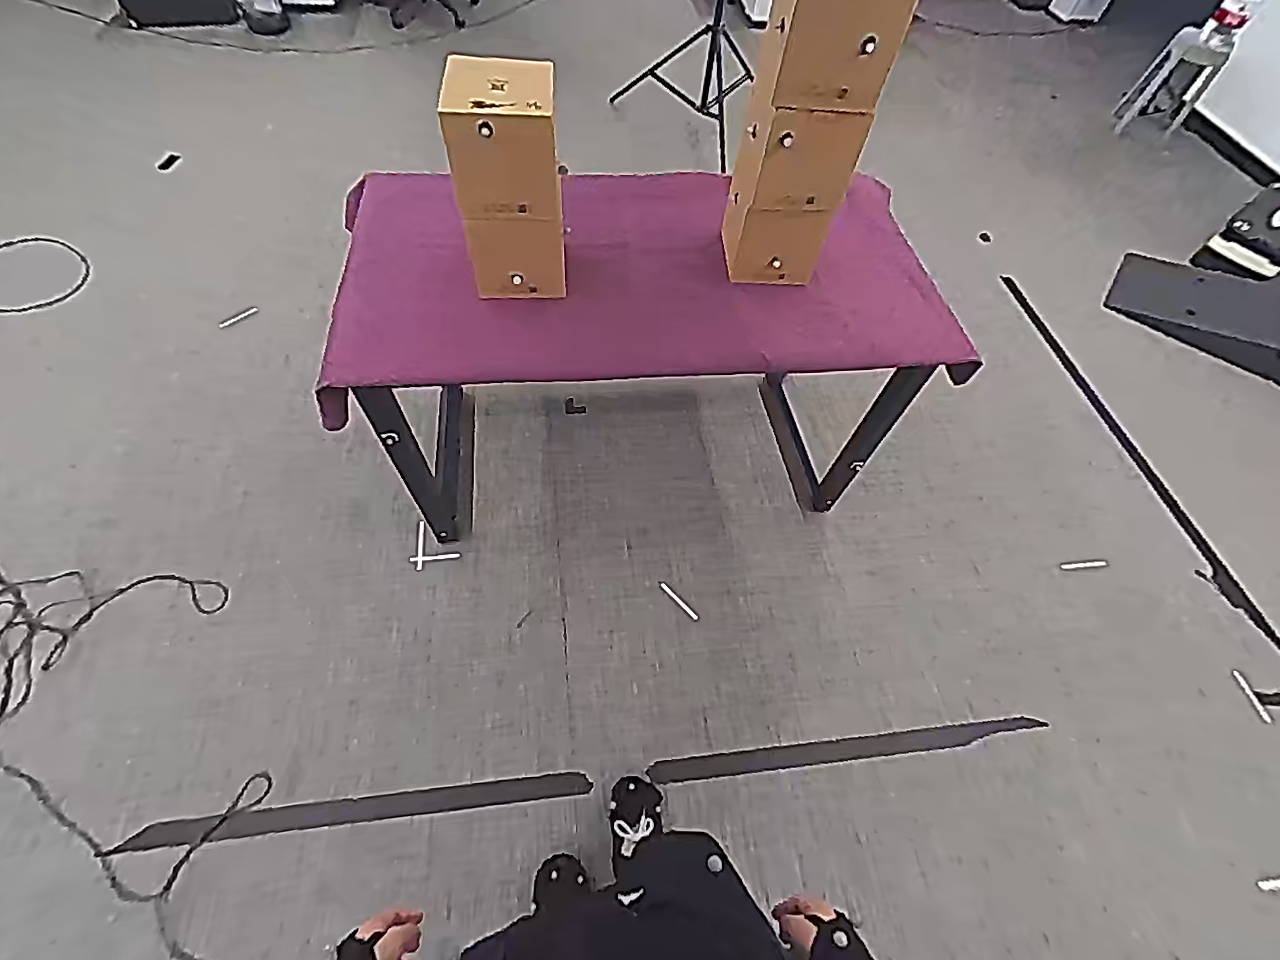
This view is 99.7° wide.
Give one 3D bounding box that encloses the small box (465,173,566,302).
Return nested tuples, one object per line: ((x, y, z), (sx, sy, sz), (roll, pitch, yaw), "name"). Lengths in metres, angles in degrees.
((-0.228, -0.463, 1.026), (0.168, 0.176, 0.179), (-3, 59, -6), "small box")

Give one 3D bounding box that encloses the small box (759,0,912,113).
((0.289, -0.688, 0.819), (0.168, 0.176, 0.179), (3, 57, -4), "small box")

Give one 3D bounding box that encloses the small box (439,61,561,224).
((-0.218, -0.549, 0.886), (0.168, 0.176, 0.179), (-2, 58, -6), "small box")

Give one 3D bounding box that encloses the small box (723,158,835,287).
((0.271, -0.521, 1.100), (0.168, 0.176, 0.179), (0, 58, -3), "small box")
